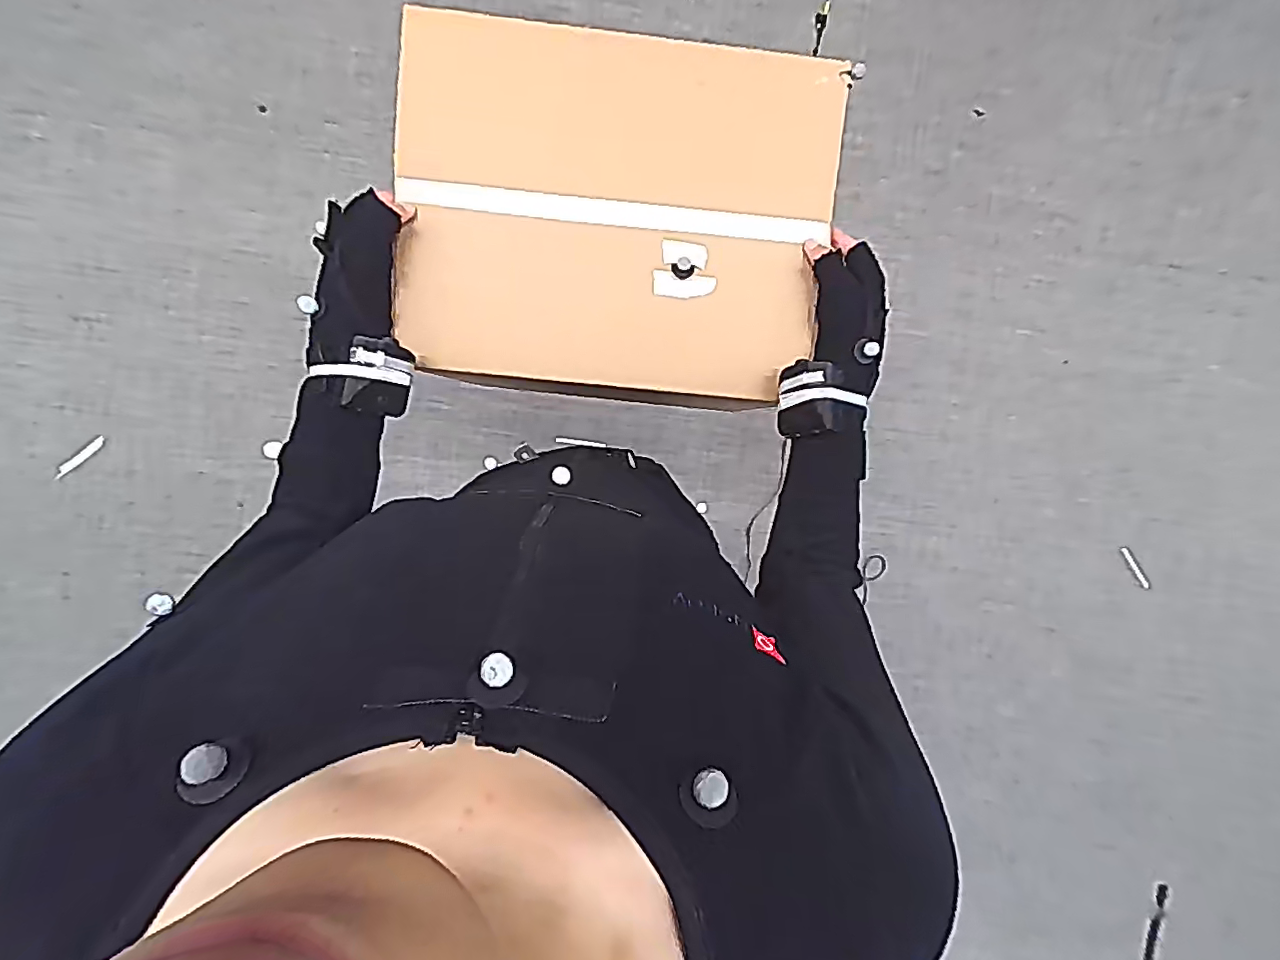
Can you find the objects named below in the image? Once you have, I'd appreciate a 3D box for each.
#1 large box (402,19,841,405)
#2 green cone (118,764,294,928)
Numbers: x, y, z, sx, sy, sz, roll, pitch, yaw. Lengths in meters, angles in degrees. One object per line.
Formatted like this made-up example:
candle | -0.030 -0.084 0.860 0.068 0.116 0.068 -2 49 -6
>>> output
large box | -0.028 -0.265 0.657 0.408 0.320 0.320 5 96 -3
green cone | -1.084 0.916 1.324 0.202 0.368 0.200 -31 93 2
